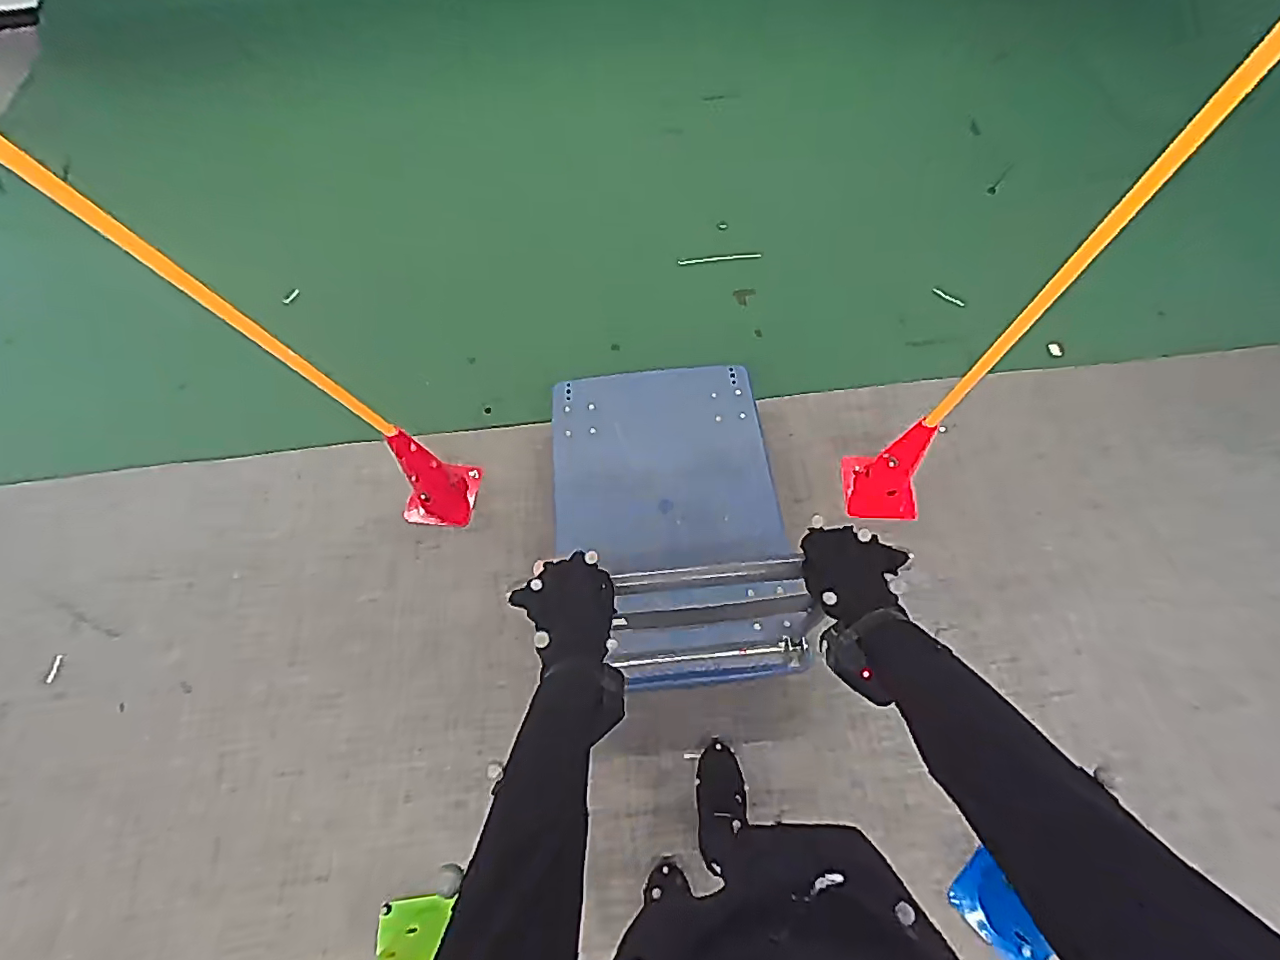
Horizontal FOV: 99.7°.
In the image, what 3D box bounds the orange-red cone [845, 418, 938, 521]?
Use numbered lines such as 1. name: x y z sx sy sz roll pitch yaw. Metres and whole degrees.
1. orange-red cone: 0.693 -0.051 1.423 0.198 0.360 0.199 3 64 5
